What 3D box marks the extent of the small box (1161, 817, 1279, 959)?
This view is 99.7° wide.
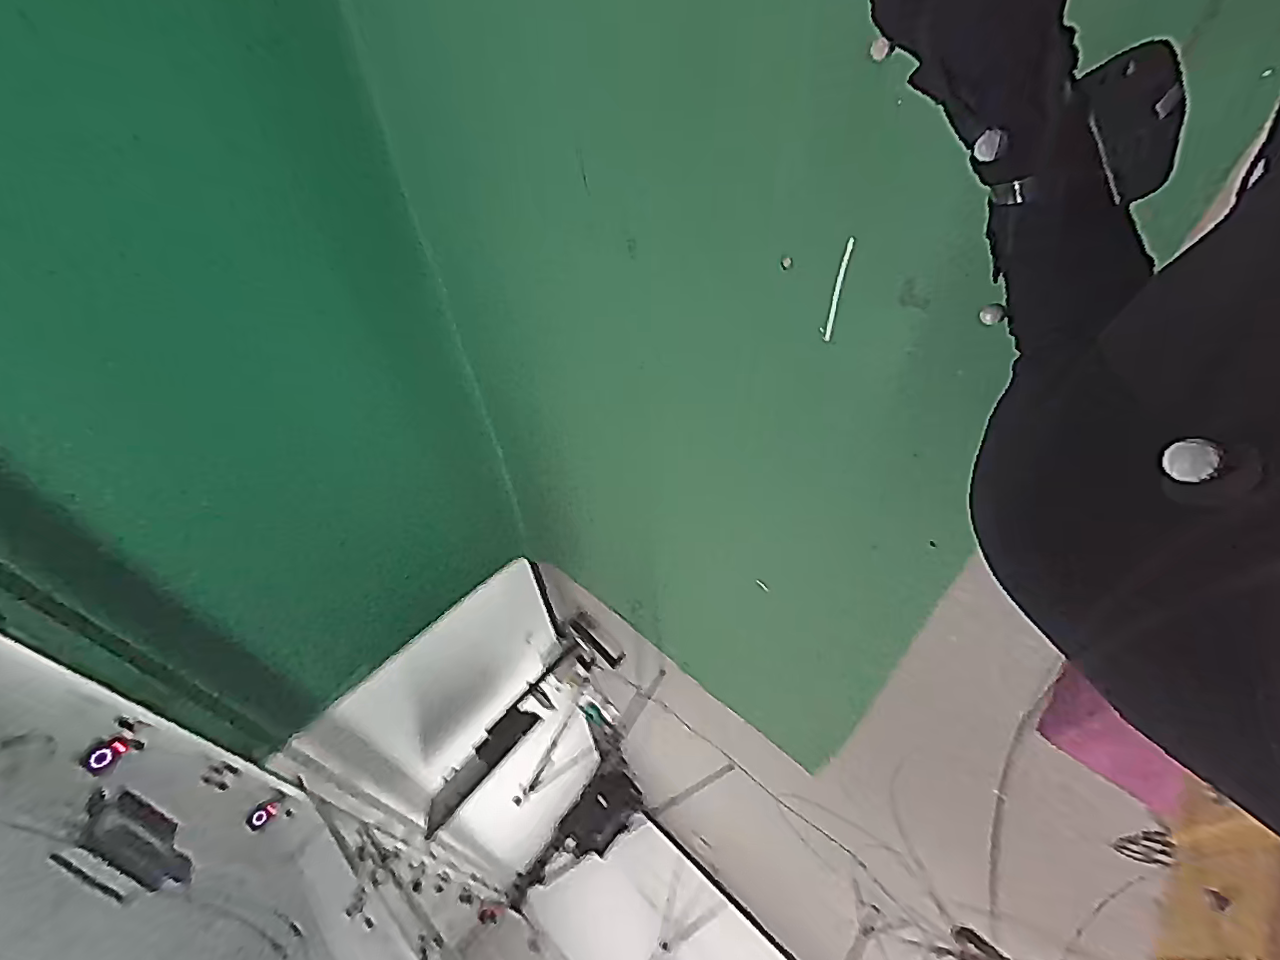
[{"bbox_3d":[0.736,0.509,0.591,0.168,0.176,0.179,33,146,28],"label":"small box"}]

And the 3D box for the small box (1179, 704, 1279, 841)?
[{"bbox_3d":[0.840,0.414,0.675,0.168,0.176,0.179,33,147,28],"label":"small box"}]
